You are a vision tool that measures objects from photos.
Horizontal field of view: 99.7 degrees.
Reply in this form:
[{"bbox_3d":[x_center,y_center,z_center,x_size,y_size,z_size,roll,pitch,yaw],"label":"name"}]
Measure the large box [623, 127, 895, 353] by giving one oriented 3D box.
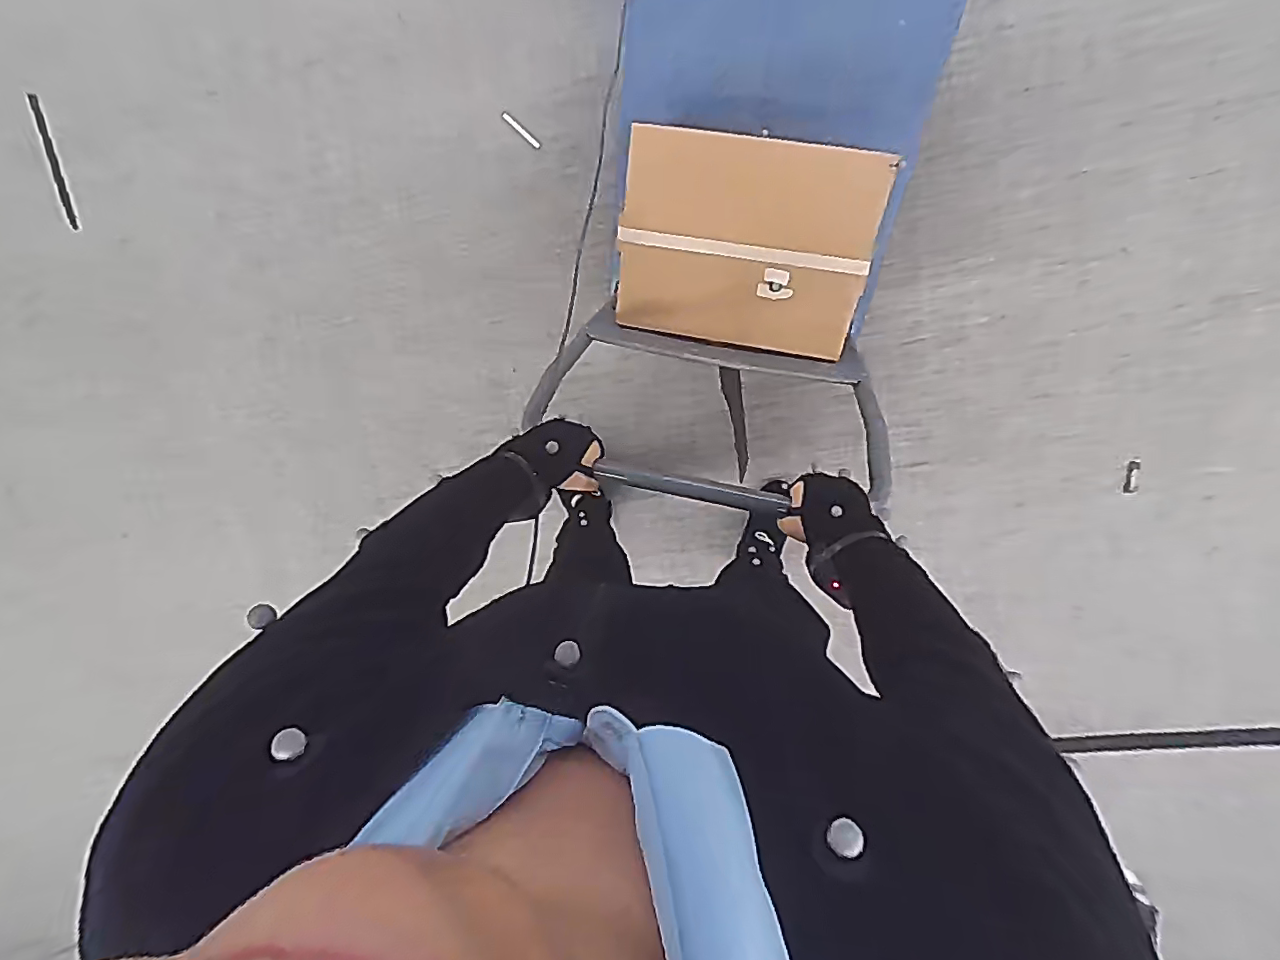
[{"bbox_3d":[0.199,-0.461,1.030,0.408,0.320,0.320,11,122,6],"label":"large box"}]
